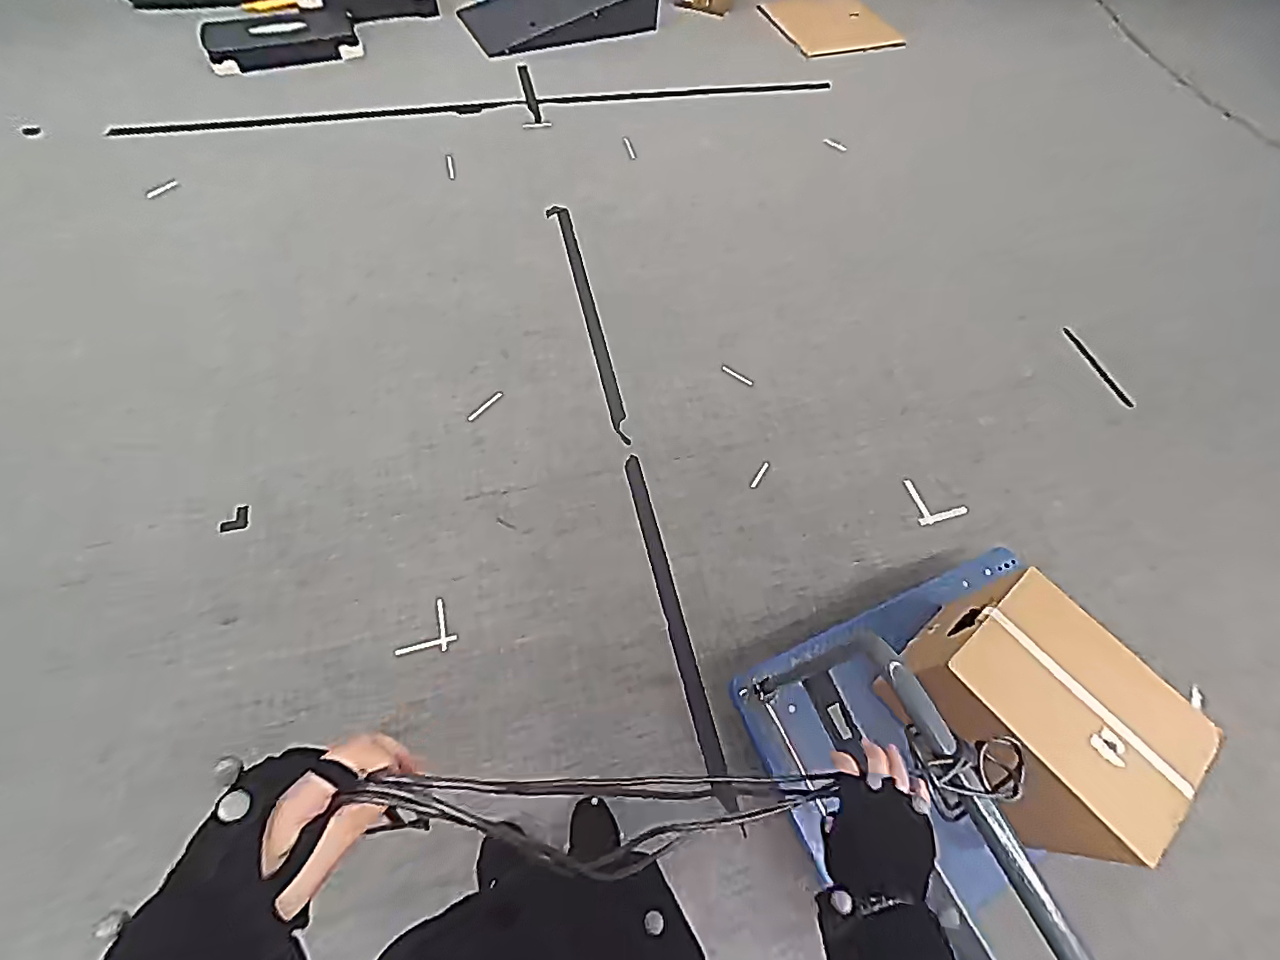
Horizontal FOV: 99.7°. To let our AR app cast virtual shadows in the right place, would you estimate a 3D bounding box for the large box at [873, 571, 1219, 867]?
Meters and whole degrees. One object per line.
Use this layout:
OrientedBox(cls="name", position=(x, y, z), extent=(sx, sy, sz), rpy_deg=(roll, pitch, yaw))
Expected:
OrientedBox(cls="large box", position=(0.780, 0.466, 1.100), extent=(0.320, 0.320, 0.408), rpy_deg=(-35, 71, -21))
